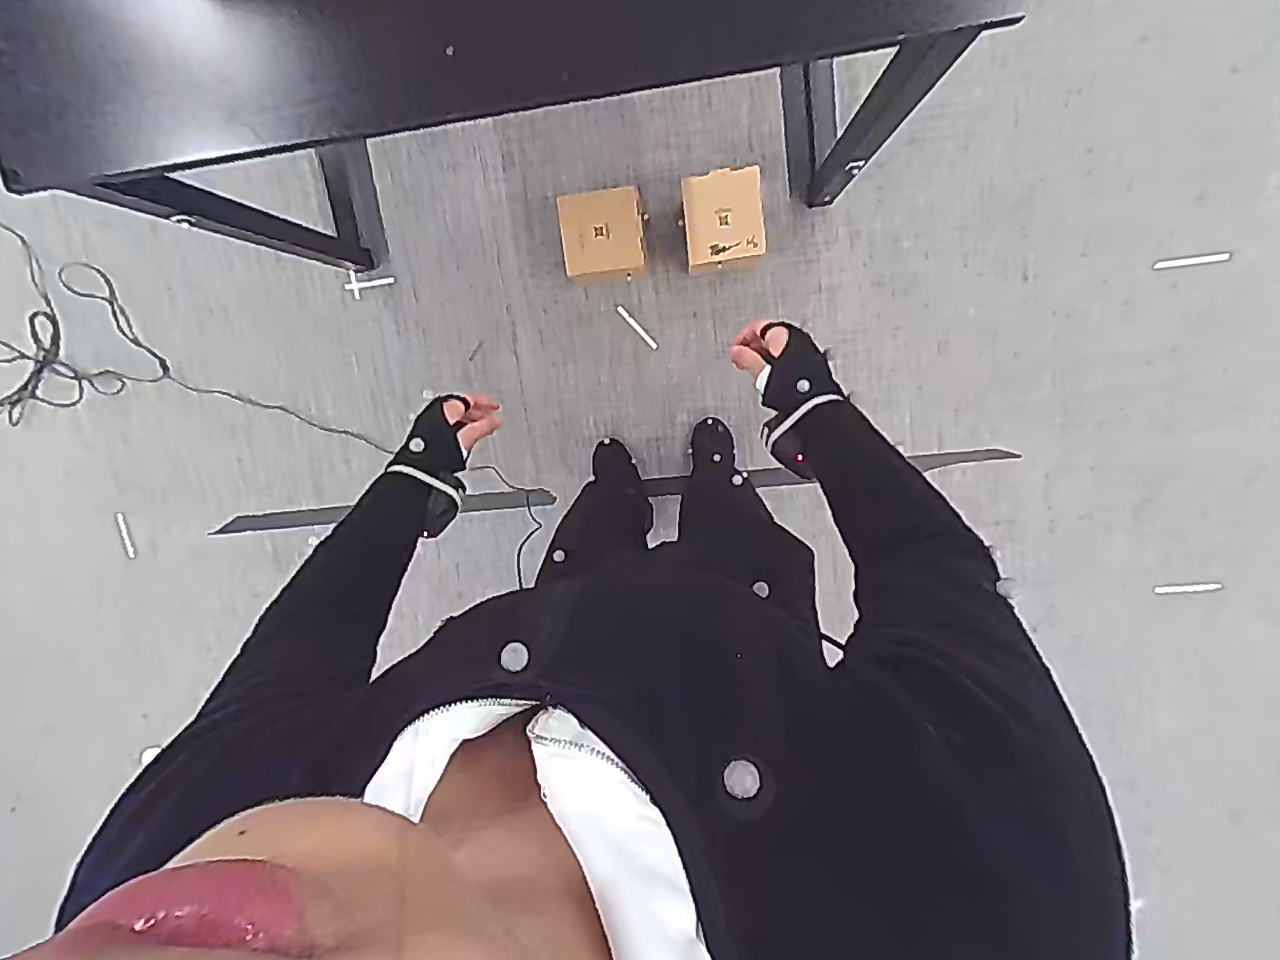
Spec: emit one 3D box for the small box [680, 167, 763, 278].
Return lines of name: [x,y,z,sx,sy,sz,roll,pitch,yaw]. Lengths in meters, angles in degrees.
small box: [0.179,-0.572,1.221,0.168,0.176,0.179,-6,101,7]

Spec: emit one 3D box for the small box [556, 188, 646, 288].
small box: [-0.082,-0.551,1.250,0.179,0.176,0.168,-6,100,7]
